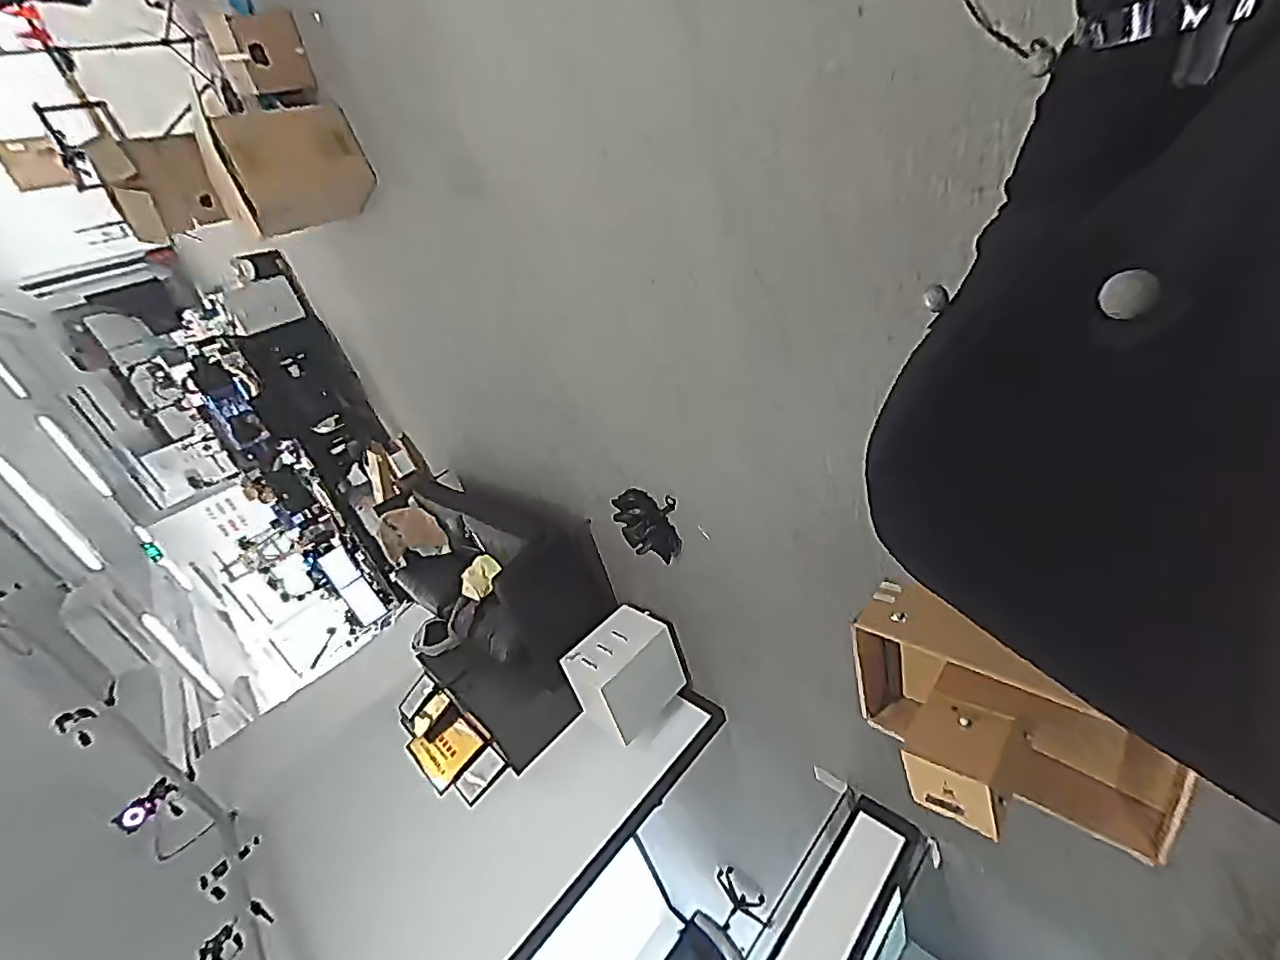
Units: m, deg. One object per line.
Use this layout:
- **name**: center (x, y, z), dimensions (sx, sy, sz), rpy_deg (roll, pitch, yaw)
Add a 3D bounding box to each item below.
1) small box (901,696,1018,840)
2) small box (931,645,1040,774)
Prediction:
- **small box**: center (0.684, 0.602, 1.150), dimensions (0.168, 0.176, 0.179), rpy_deg (4, 124, 48)
- **small box**: center (0.794, 0.516, 1.237), dimensions (0.168, 0.176, 0.179), rpy_deg (5, 124, 48)
